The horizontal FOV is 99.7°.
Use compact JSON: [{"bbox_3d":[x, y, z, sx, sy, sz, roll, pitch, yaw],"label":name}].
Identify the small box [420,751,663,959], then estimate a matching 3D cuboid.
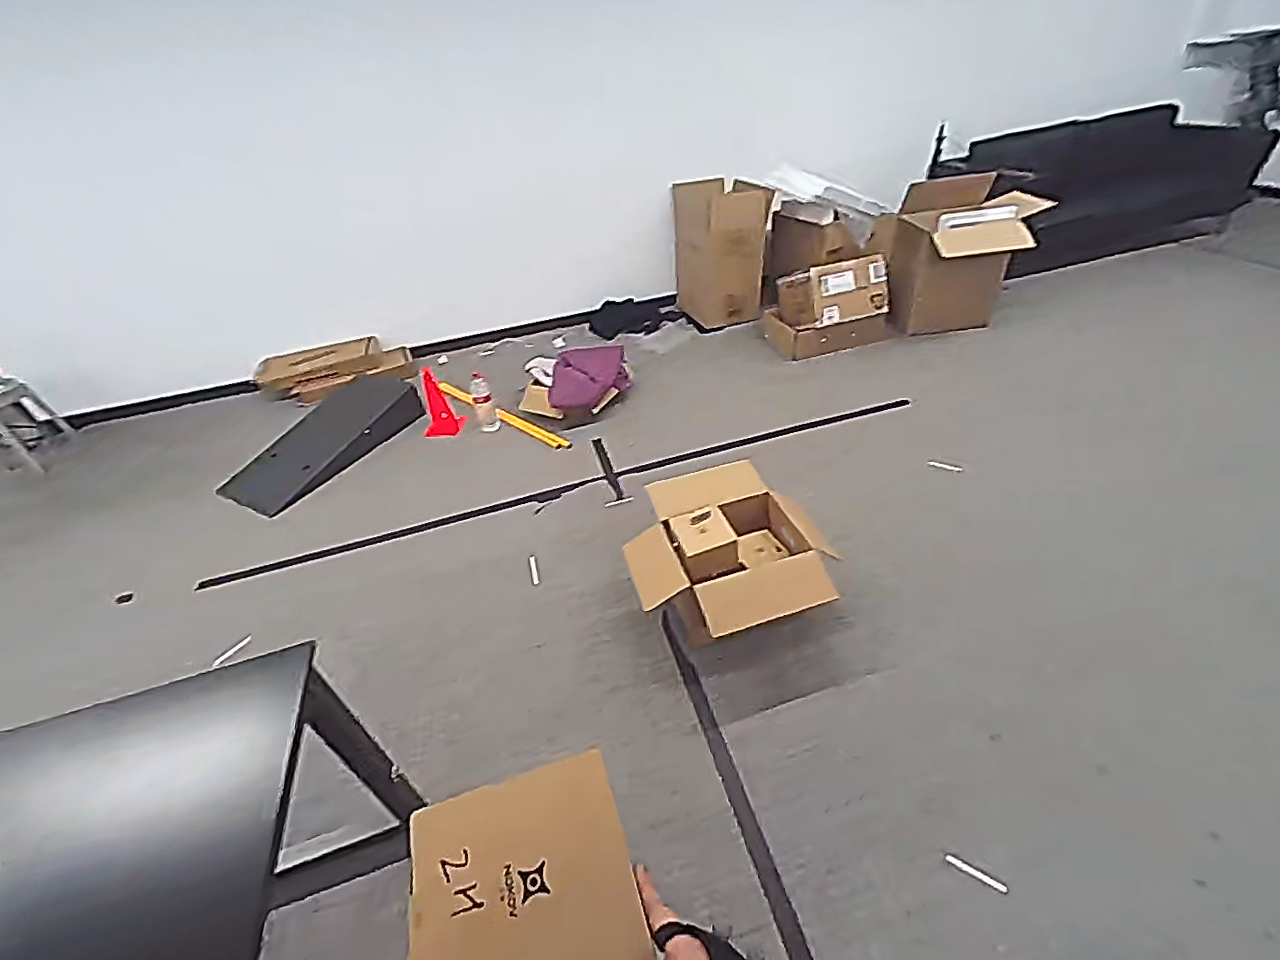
[{"bbox_3d":[-0.087,0.384,0.497,0.179,0.176,0.168,-14,46,-11],"label":"small box"}]
